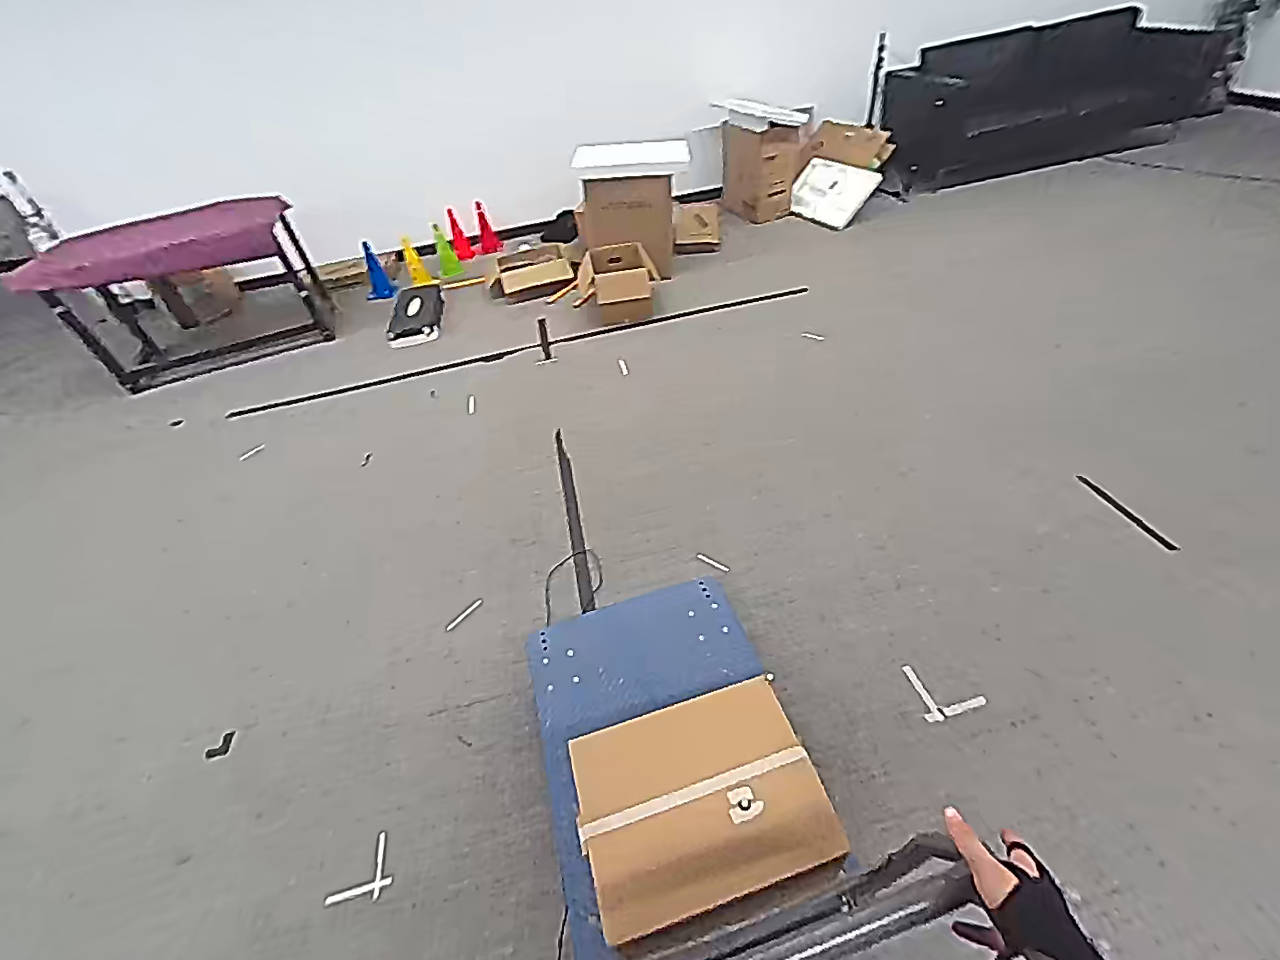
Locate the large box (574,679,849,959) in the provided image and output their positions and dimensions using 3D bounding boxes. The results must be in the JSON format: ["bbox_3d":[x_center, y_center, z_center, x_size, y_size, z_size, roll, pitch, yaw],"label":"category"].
[{"bbox_3d":[0.118,0.653,1.035,0.408,0.320,0.320,-15,44,-8],"label":"large box"}]
